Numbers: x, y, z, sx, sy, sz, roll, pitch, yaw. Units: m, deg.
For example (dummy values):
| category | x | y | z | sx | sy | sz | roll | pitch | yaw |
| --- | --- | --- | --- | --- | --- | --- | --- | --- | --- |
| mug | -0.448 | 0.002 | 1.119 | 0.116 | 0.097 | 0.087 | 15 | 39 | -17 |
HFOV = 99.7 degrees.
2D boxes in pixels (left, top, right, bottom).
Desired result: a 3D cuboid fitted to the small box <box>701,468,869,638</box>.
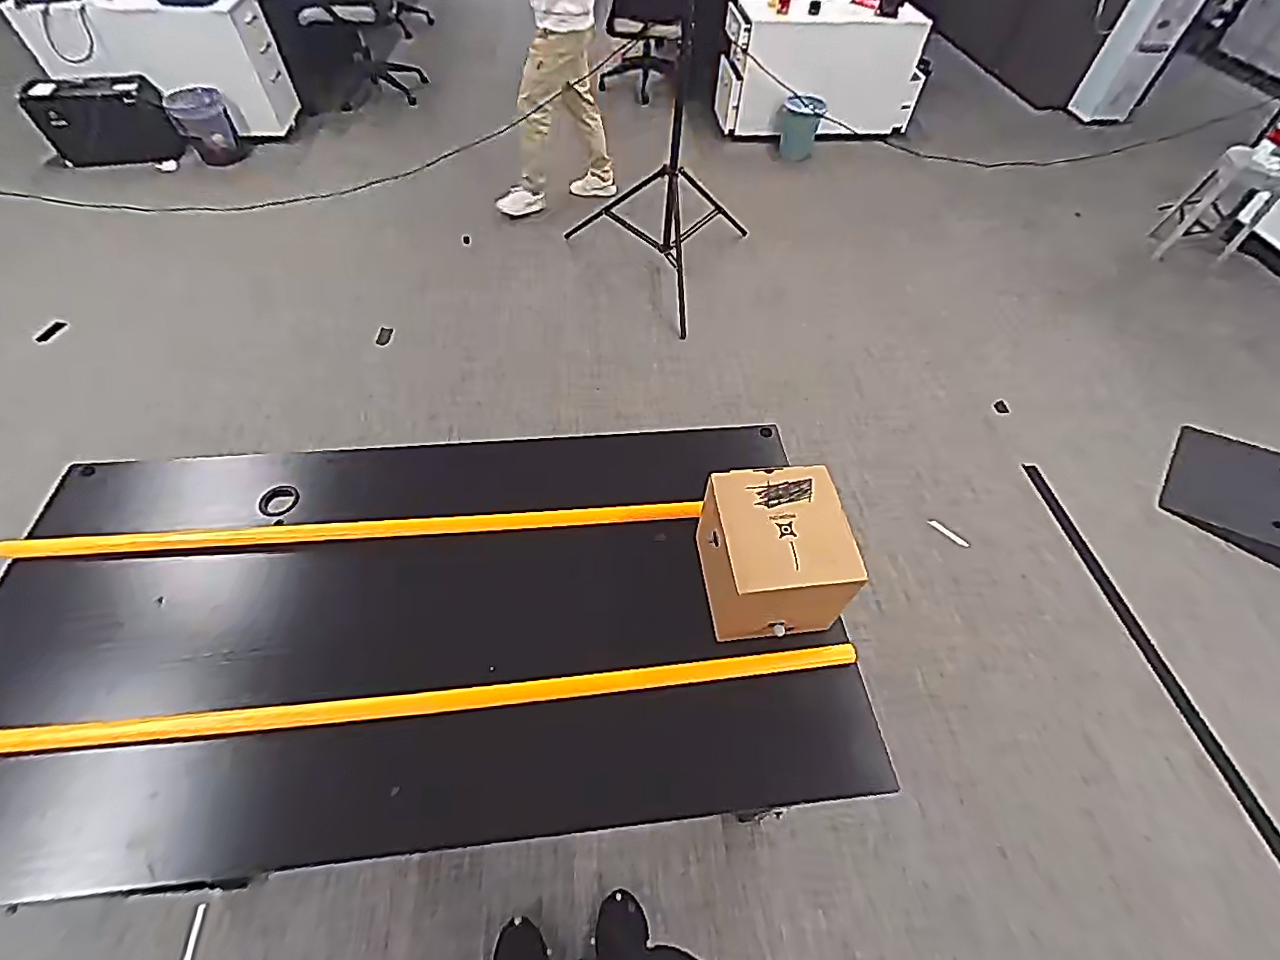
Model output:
| category | x | y | z | sx | sy | sz | roll | pitch | yaw |
| --- | --- | --- | --- | --- | --- | --- | --- | --- | --- |
| small box | 0.186 | 0.104 | 0.761 | 0.168 | 0.176 | 0.179 | -5 | 55 | -5 |
